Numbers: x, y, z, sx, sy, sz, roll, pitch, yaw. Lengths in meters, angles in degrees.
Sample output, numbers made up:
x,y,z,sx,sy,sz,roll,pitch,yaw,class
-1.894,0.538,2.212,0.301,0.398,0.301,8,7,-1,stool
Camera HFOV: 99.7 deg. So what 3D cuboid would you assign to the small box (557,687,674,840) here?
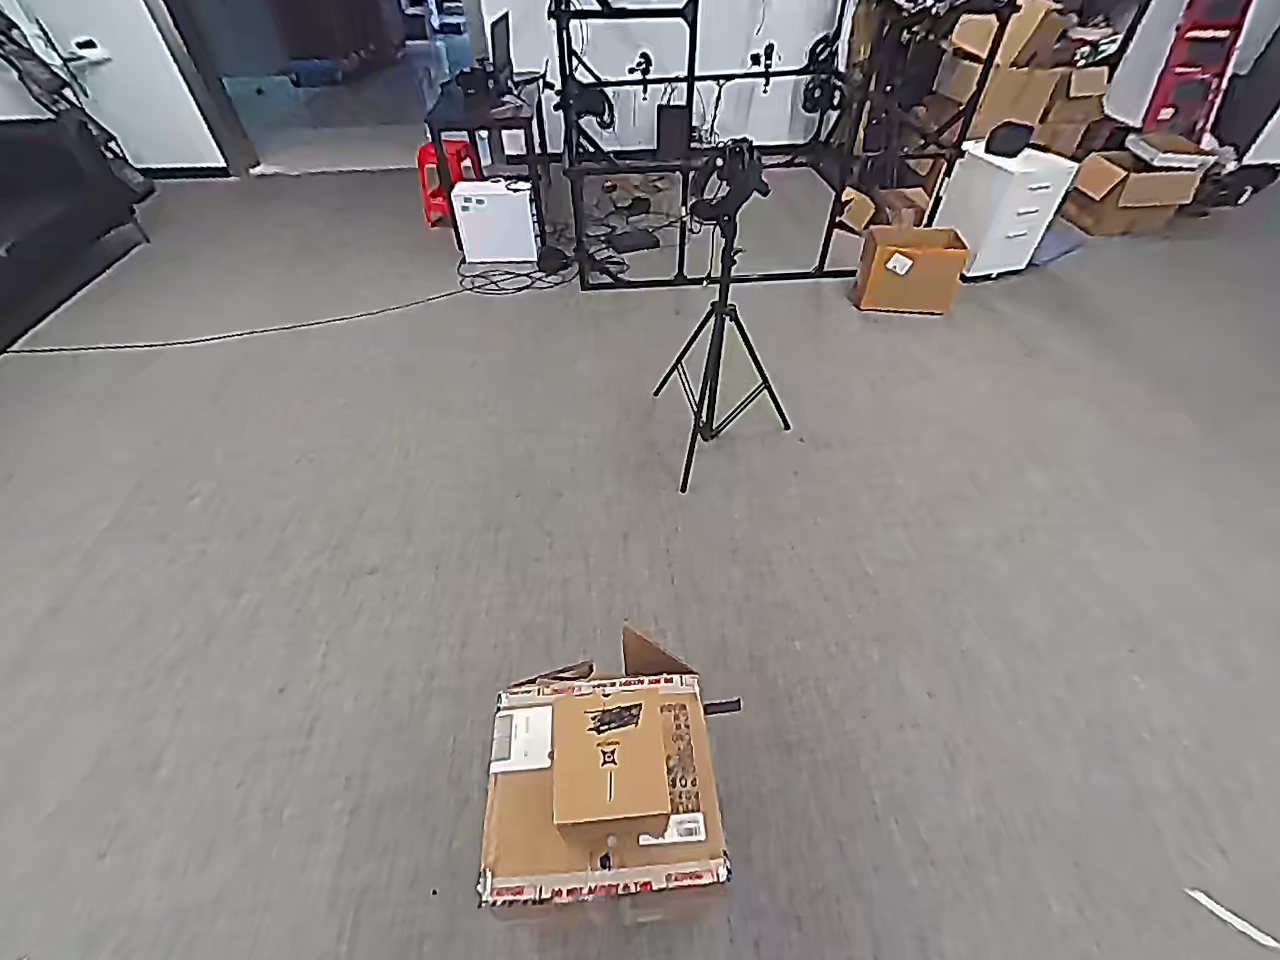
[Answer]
x,y,z,sx,sy,sz,roll,pitch,yaw,class
-0.041,0.453,0.864,0.168,0.176,0.179,-4,49,-3,small box
